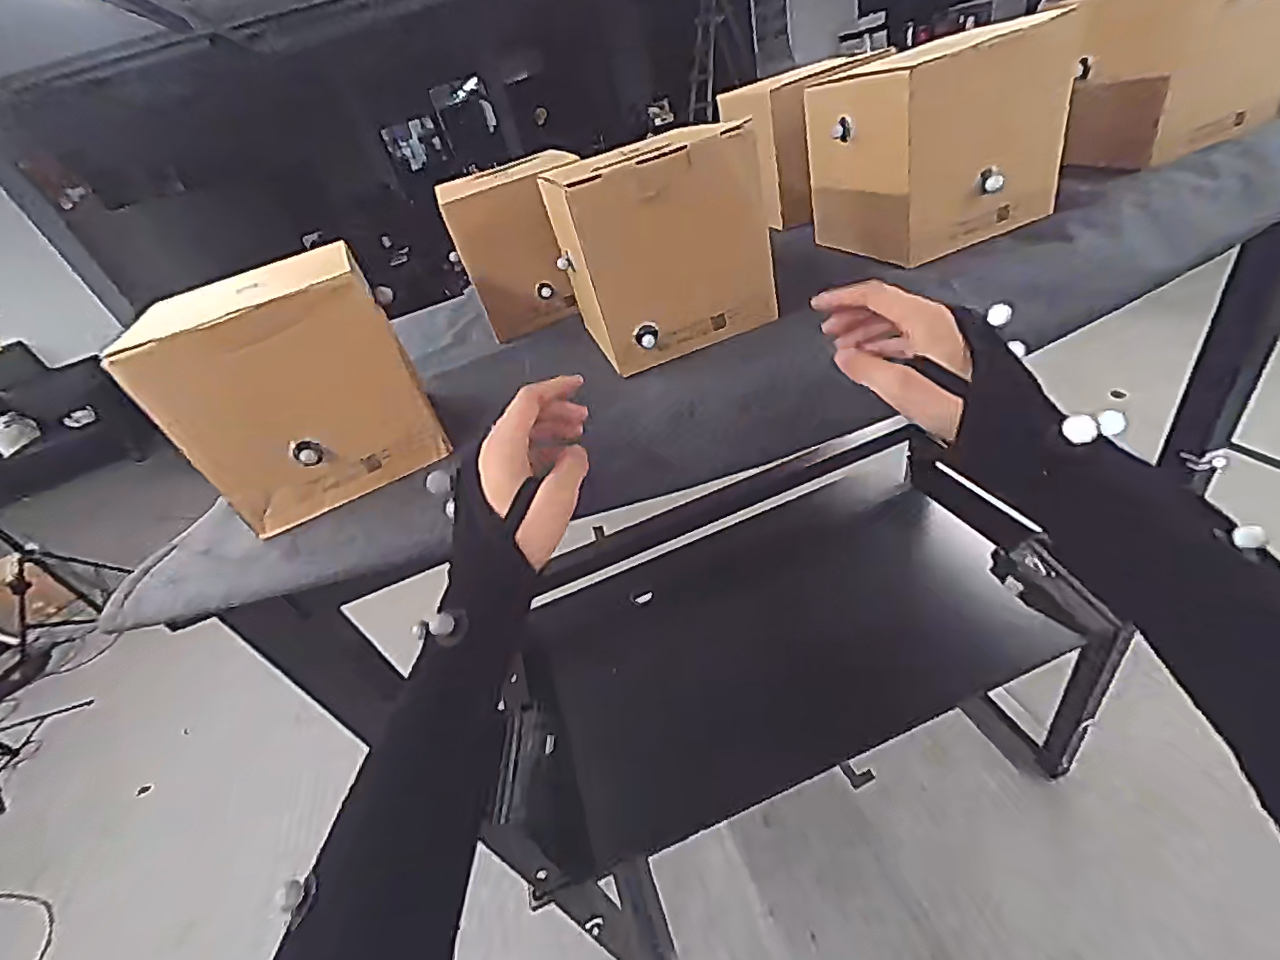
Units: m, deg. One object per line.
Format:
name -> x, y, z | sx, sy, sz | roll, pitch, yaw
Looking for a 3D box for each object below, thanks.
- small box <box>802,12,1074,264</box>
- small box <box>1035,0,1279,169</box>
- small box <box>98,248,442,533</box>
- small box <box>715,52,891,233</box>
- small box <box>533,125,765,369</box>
small box -> 0.289, -0.341, 0.561 | 0.168, 0.176, 0.179 | -22, 35, -4
small box -> 0.569, -0.463, 0.603 | 0.168, 0.176, 0.179 | -21, 35, -2
small box -> -0.298, -0.084, 0.478 | 0.168, 0.176, 0.179 | -28, 38, -14
small box -> 0.226, -0.473, 0.765 | 0.179, 0.176, 0.168 | -21, 35, -4
small box -> 0.009, -0.229, 0.537 | 0.168, 0.176, 0.179 | -22, 35, -5
